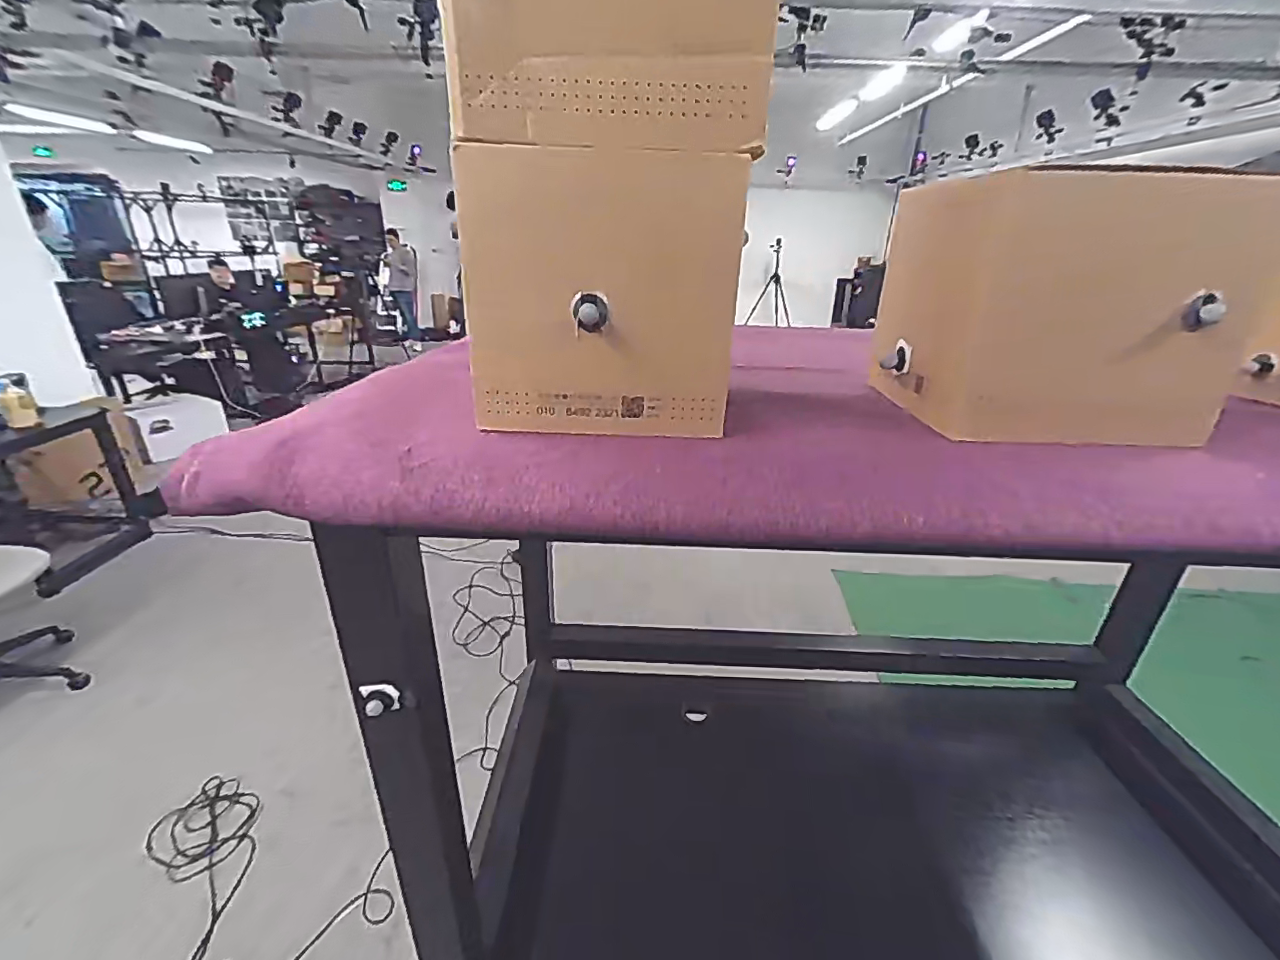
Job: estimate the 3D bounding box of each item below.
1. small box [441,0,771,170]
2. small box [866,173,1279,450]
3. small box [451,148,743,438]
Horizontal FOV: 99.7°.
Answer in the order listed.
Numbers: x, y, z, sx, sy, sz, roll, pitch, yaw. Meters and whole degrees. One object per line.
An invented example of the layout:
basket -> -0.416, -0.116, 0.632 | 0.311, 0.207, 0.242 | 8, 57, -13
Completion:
small box -> -0.017, -0.285, 0.336 | 0.179, 0.176, 0.168 | 2, 25, -1
small box -> 0.297, -0.126, 0.409 | 0.179, 0.176, 0.168 | 1, 24, 0
small box -> -0.024, -0.137, 0.404 | 0.168, 0.176, 0.179 | 3, 24, -1
